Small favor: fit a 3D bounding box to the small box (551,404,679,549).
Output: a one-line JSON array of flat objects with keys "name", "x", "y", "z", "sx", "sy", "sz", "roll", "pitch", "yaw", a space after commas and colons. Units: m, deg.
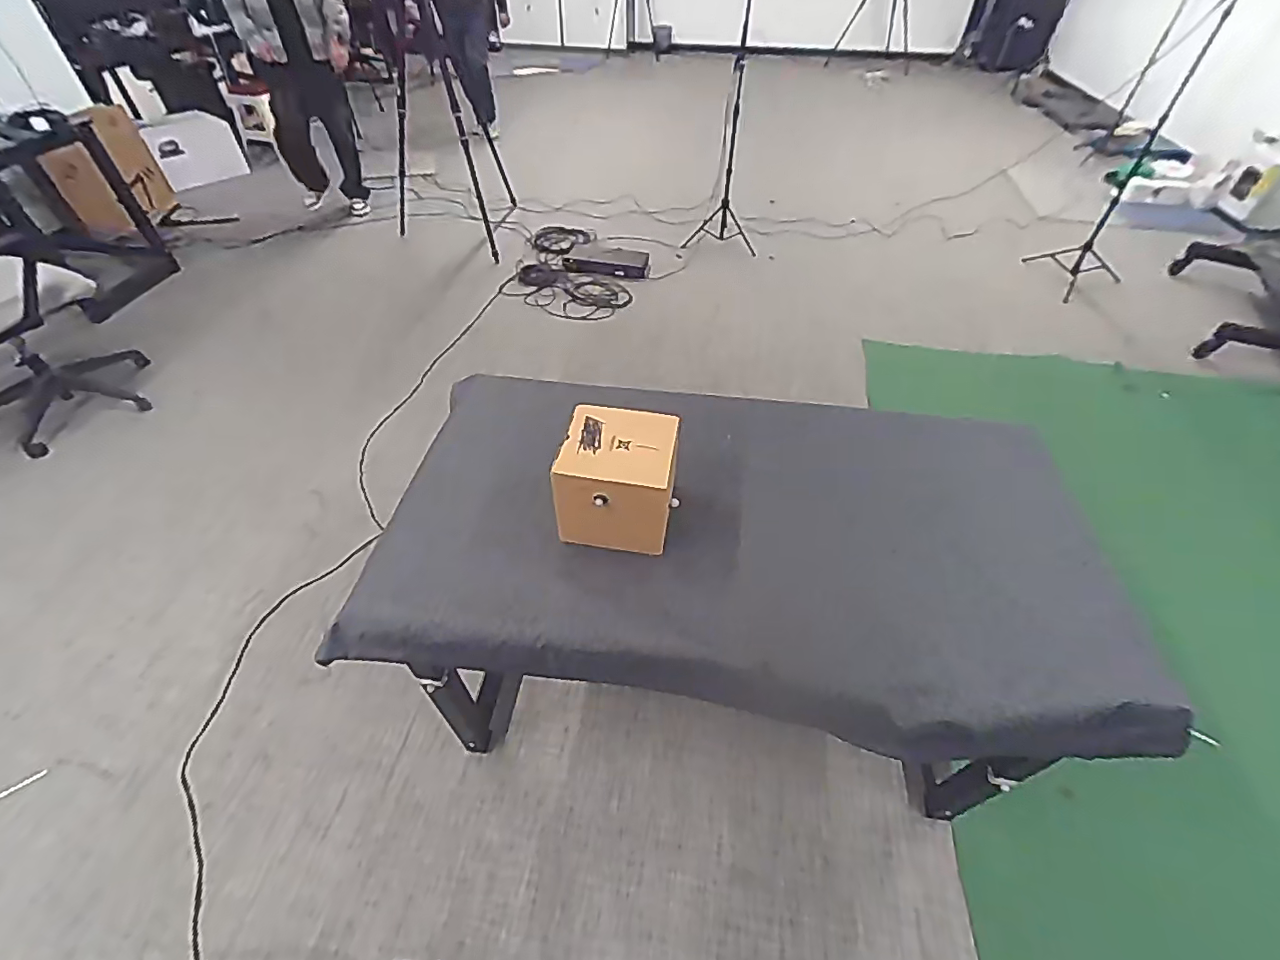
[{"name": "small box", "x": -0.035, "y": -0.004, "z": 0.902, "sx": 0.179, "sy": 0.176, "sz": 0.168, "roll": 8, "pitch": 48, "yaw": 5}]
